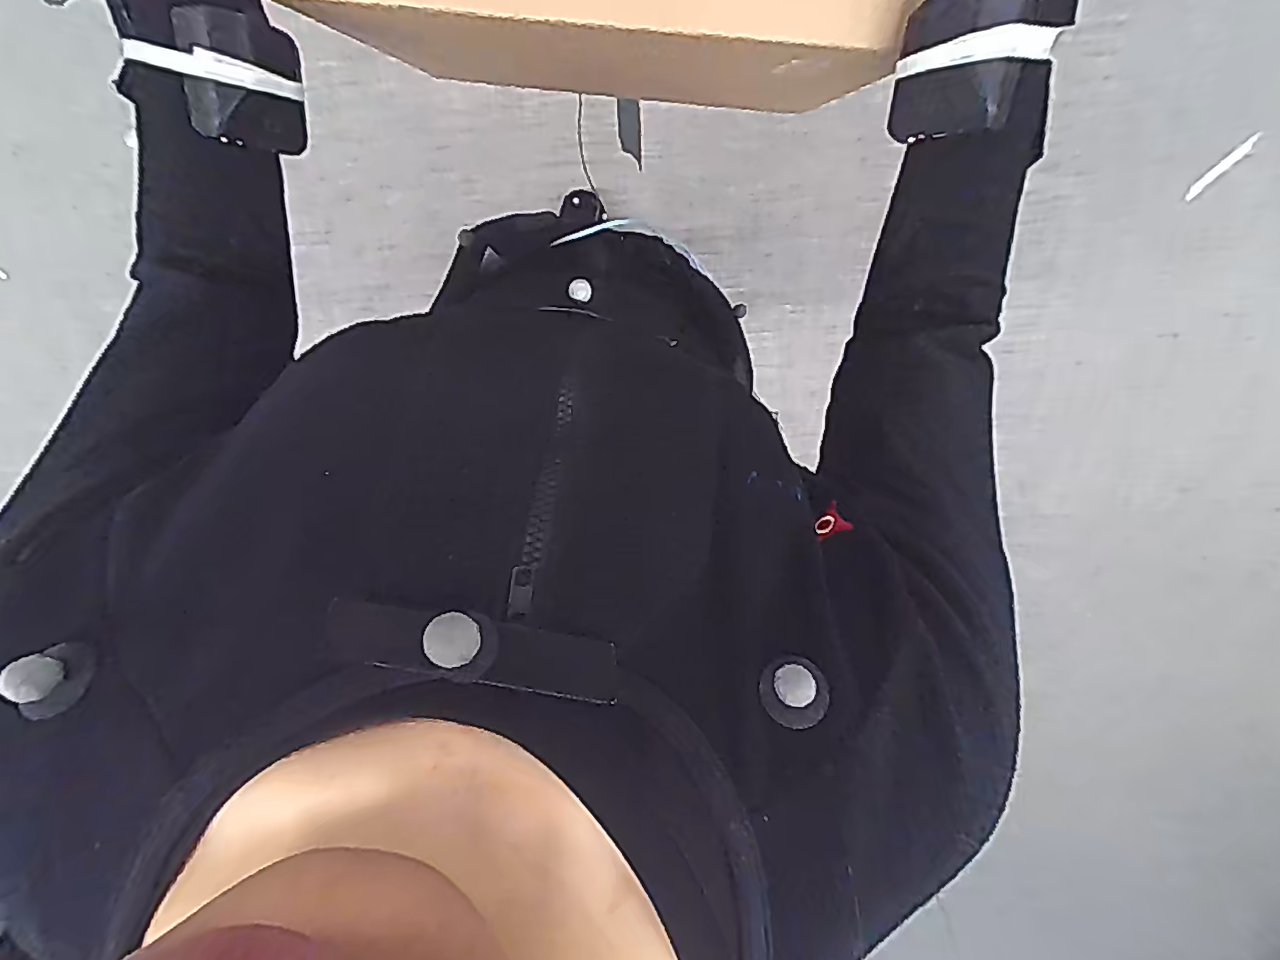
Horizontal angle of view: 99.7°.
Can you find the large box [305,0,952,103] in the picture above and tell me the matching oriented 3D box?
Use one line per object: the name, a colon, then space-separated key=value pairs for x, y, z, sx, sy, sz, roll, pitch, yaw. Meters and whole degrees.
large box: x=-0.007 y=-0.481 z=0.379 sx=0.408 sy=0.320 sz=0.320 roll=3 pitch=120 yaw=-2
